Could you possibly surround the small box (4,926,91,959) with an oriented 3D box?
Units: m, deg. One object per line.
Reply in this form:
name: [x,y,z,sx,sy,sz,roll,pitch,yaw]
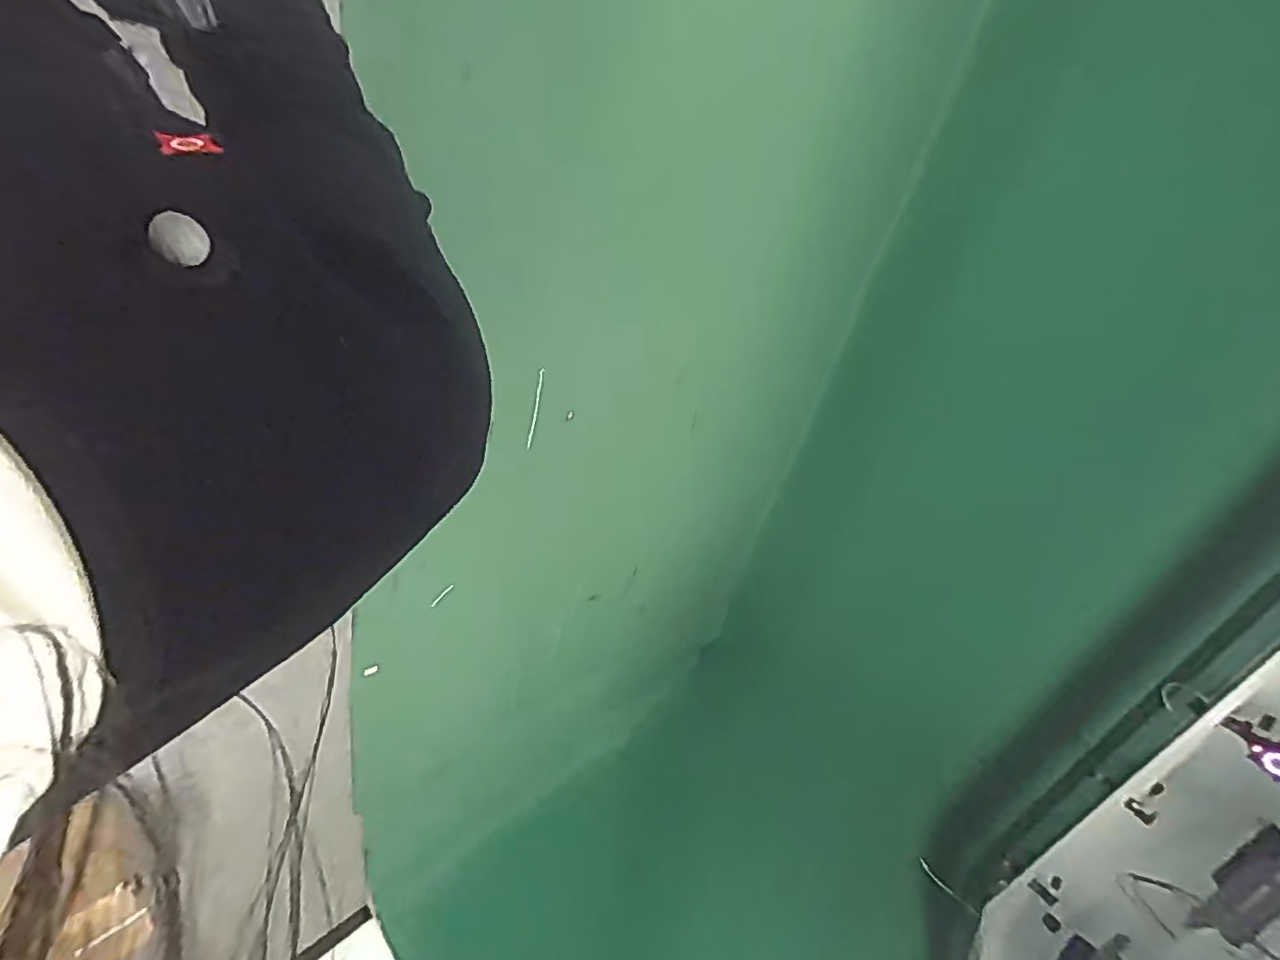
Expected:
small box: [-1.425,1.215,1.270,0.179,0.176,0.168,-20,133,-41]
